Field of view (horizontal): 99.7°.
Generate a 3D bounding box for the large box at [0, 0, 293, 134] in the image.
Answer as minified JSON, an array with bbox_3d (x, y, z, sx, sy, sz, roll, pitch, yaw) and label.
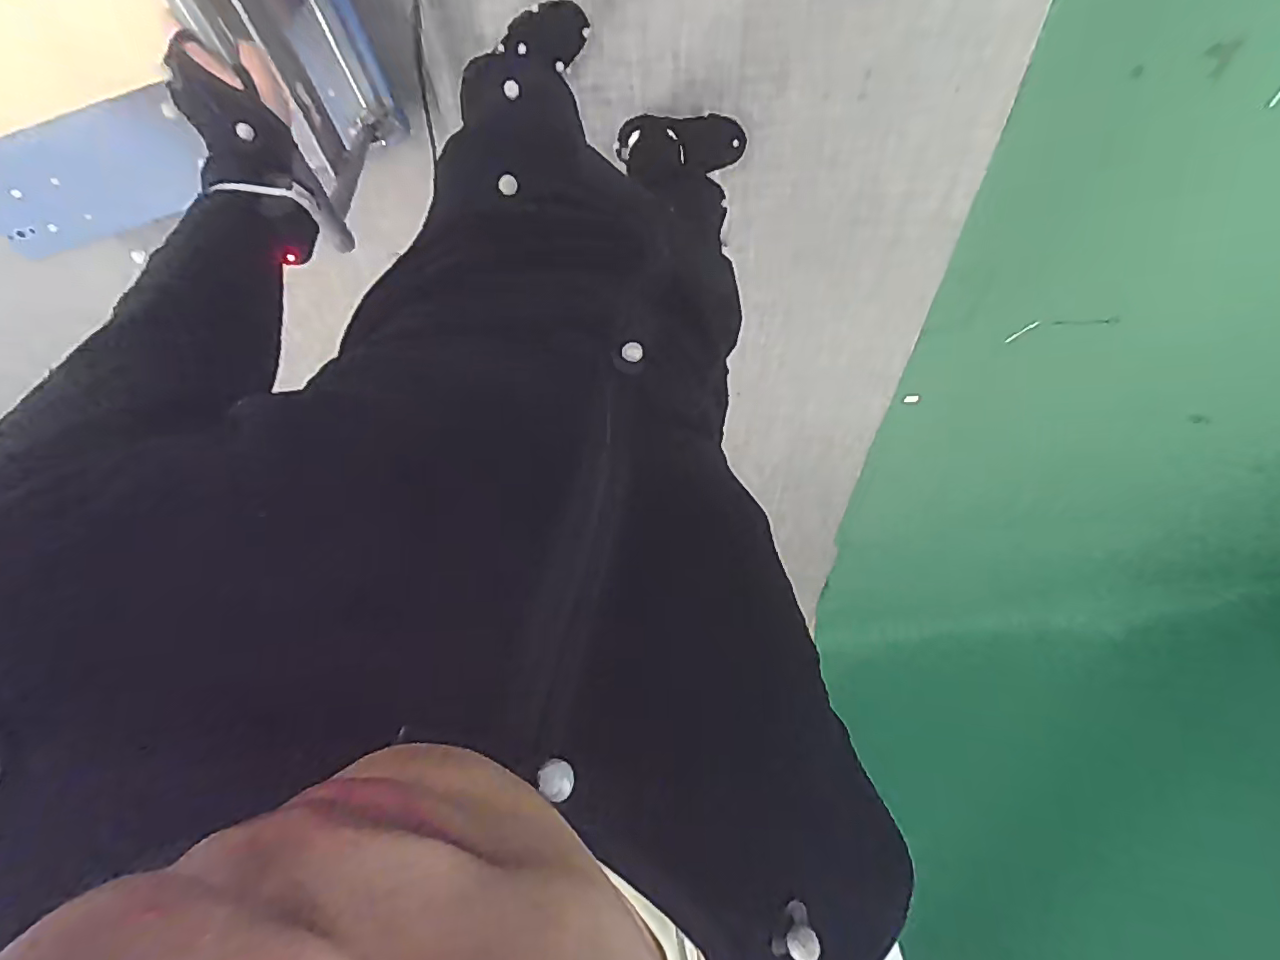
[{"bbox_3d":[-0.797,-0.755,0.747,0.408,0.320,0.320,-16,138,3],"label":"large box"}]
